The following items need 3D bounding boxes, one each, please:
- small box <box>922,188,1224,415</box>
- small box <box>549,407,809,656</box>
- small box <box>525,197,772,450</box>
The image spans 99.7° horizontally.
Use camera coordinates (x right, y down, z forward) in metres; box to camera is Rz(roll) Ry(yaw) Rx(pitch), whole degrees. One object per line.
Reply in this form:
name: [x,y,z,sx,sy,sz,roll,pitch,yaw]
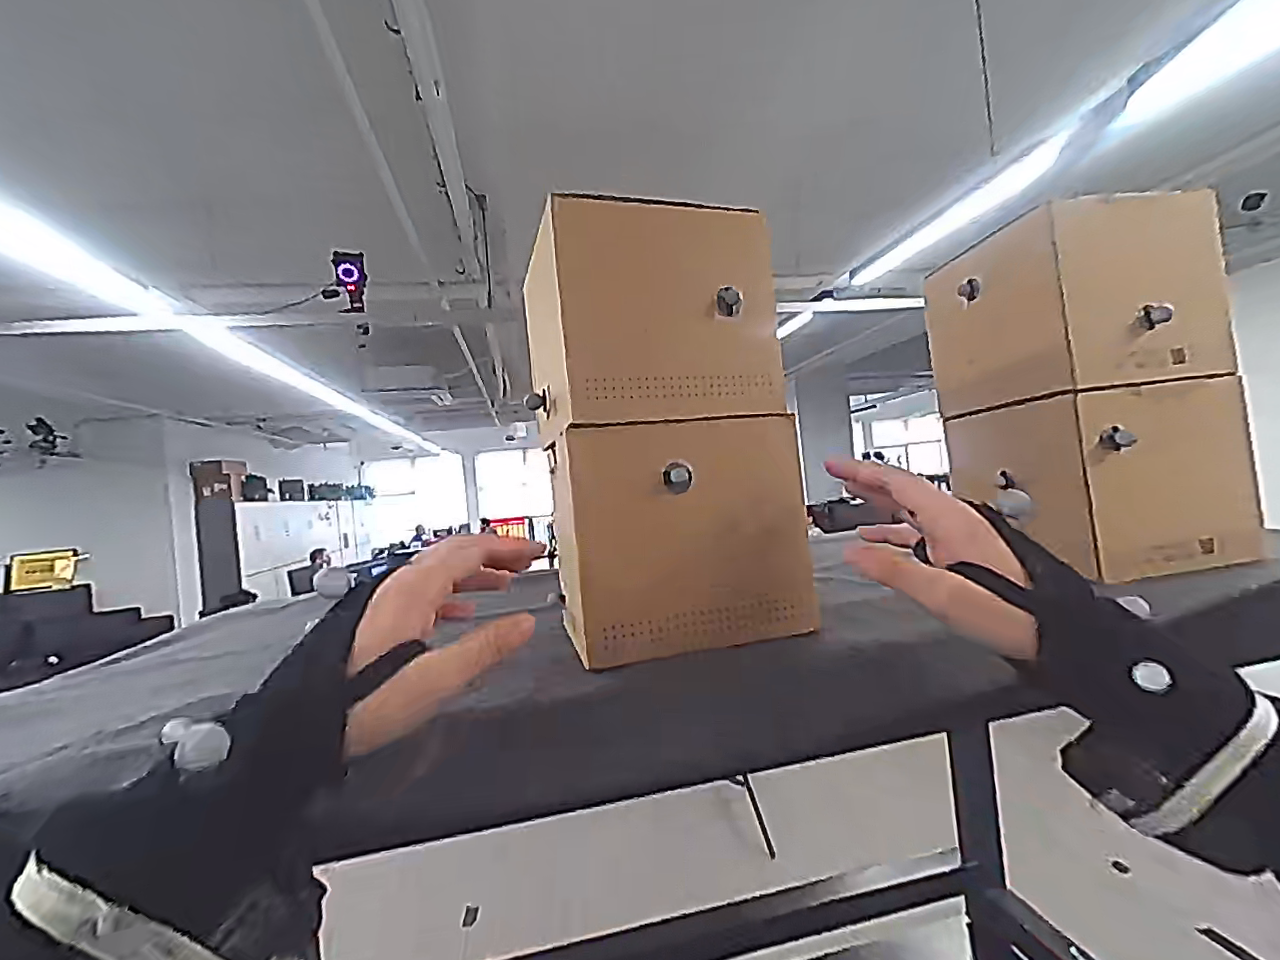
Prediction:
small box: [0.424,-0.166,0.554,0.168,0.176,0.179,-7,-1,-7]
small box: [0.022,0.042,0.463,0.179,0.176,0.168,-5,-2,-14]
small box: [0.001,-0.119,0.478,0.179,0.176,0.168,-6,-3,-19]
